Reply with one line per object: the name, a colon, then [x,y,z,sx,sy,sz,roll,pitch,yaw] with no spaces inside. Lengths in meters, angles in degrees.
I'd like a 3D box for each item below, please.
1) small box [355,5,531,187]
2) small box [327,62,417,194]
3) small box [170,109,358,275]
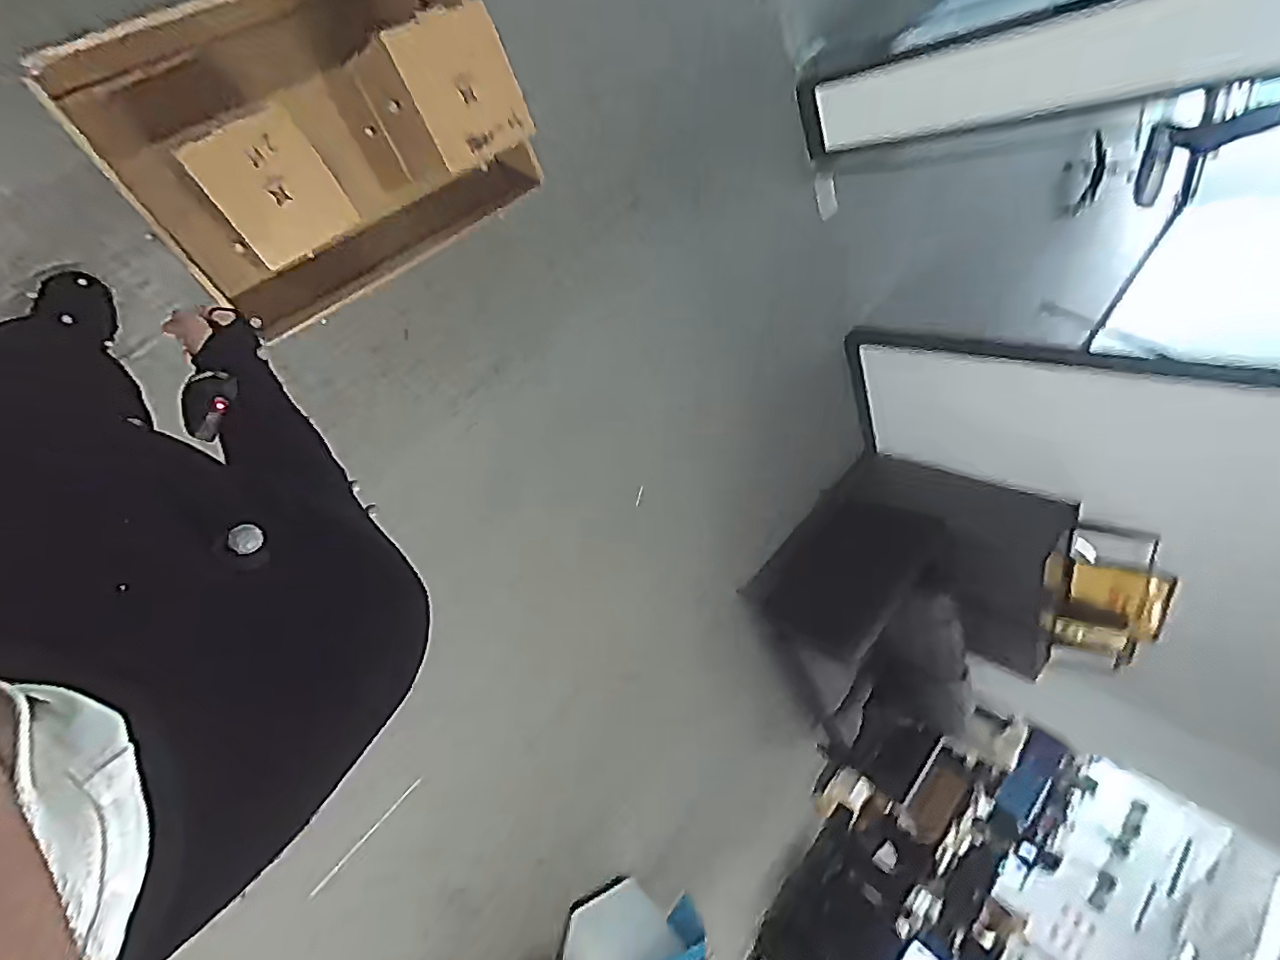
small box: [-0.309,-0.586,0.845,0.168,0.176,0.179,-40,129,-21]
small box: [-0.416,-0.633,0.959,0.168,0.176,0.179,-40,130,-23]
small box: [-0.596,-0.451,0.862,0.168,0.176,0.179,-45,131,-21]
